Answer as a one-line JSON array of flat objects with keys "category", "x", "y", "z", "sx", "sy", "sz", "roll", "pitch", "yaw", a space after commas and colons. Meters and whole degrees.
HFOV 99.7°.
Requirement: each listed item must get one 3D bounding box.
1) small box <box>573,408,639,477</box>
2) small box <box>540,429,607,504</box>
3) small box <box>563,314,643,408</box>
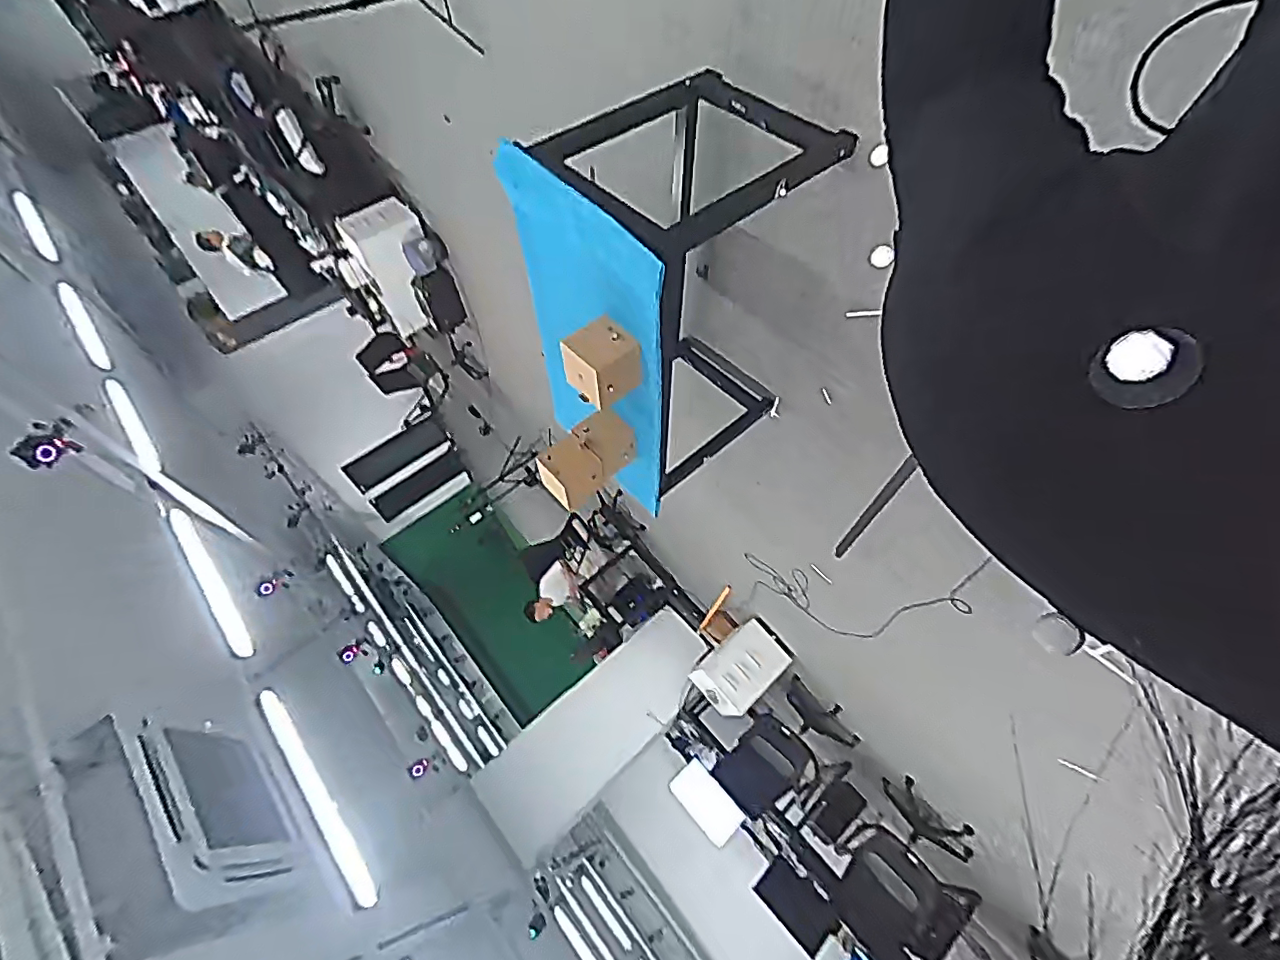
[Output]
[{"category": "small box", "x": -0.124, "y": -0.145, "z": 2.013, "sx": 0.179, "sy": 0.176, "sz": 0.168, "roll": 43, "pitch": 159, "yaw": 20}, {"category": "small box", "x": -0.241, "y": -0.044, "z": 1.948, "sx": 0.168, "sy": 0.176, "sz": 0.179, "roll": 44, "pitch": 158, "yaw": 23}, {"category": "small box", "x": -0.104, "y": -0.356, "z": 1.617, "sx": 0.168, "sy": 0.176, "sz": 0.179, "roll": 43, "pitch": 158, "yaw": 23}]
